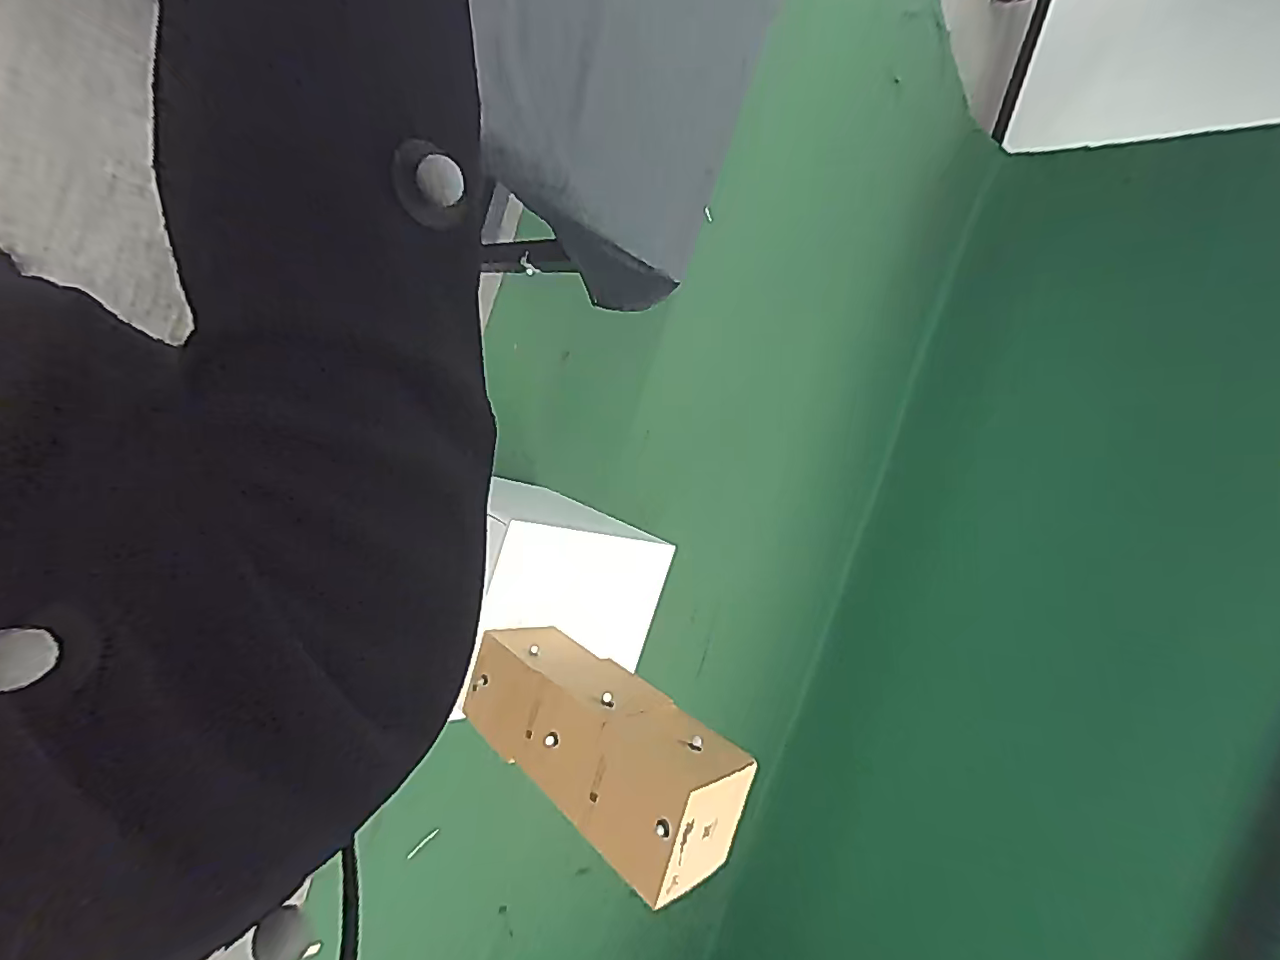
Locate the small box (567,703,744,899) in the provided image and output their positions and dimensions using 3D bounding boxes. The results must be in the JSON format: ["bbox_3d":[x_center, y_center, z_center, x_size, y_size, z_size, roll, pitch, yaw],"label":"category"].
[{"bbox_3d":[0.023,0.457,0.810,0.179,0.176,0.168,14,94,-50],"label":"small box"}]

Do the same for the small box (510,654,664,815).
[{"bbox_3d":[-0.093,0.415,0.916,0.179,0.176,0.168,10,97,-49],"label":"small box"}]
